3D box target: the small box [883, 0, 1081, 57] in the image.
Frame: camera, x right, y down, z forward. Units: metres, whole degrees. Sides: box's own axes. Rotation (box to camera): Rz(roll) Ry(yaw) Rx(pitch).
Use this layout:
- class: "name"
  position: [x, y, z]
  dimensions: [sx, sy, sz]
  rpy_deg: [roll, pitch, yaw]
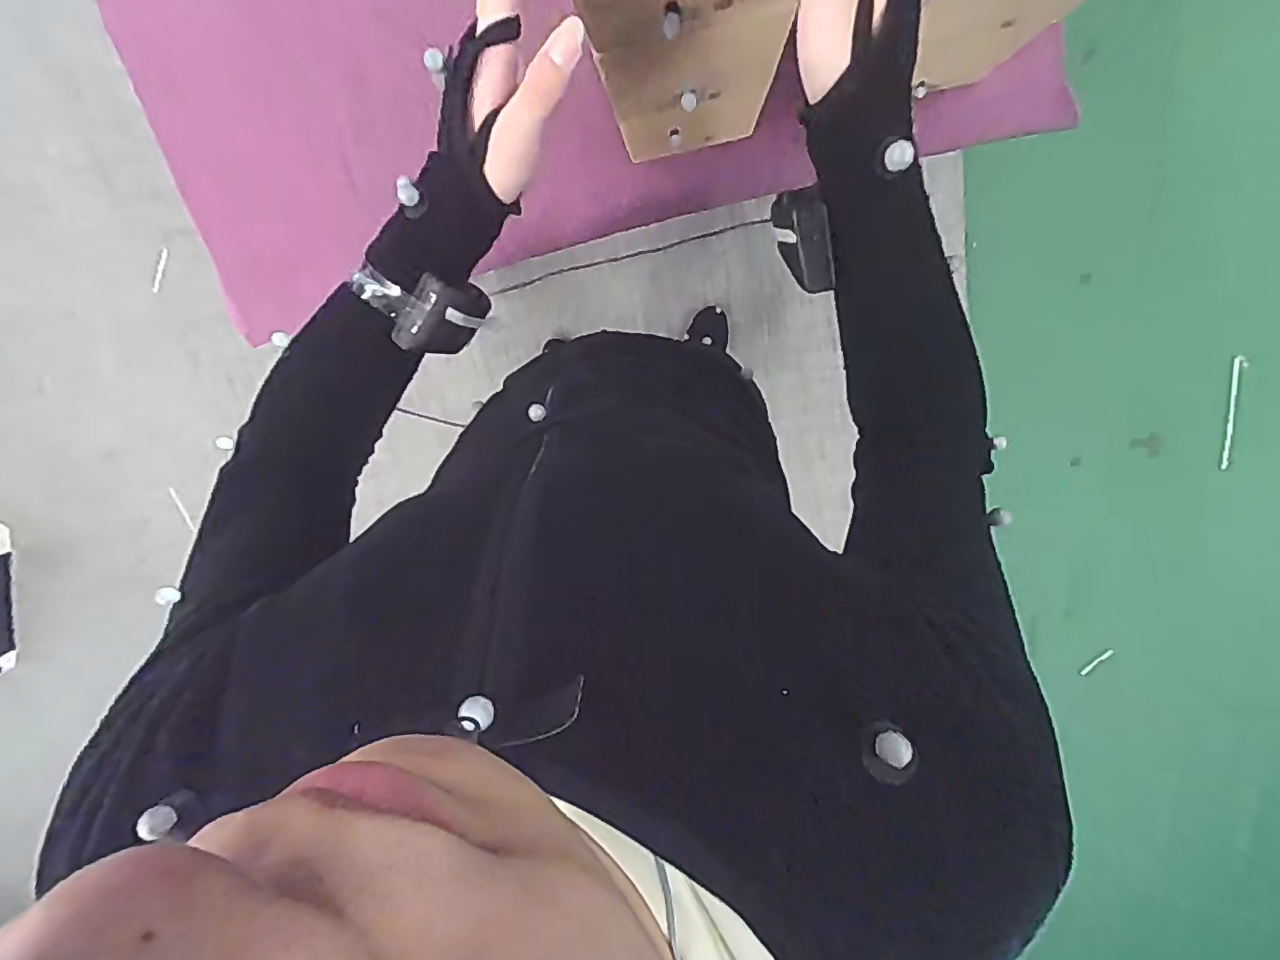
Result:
- class: "small box"
  position: [0.307, -0.495, 0.439]
  dimensions: [0.168, 0.176, 0.179]
  rpy_deg: [-6, 106, 8]

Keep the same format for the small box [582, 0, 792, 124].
- class: "small box"
  position: [0.030, -0.456, 0.480]
  dimensions: [0.168, 0.176, 0.179]
  rpy_deg: [-9, 107, 8]

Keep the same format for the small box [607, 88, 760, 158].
- class: "small box"
  position: [0.044, -0.503, 0.637]
  dimensions: [0.168, 0.176, 0.179]
  rpy_deg: [-9, 106, 8]

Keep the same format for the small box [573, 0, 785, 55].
- class: "small box"
  position: [0.015, -0.409, 0.325]
  dimensions: [0.168, 0.176, 0.179]
  rpy_deg: [-9, 107, 9]
